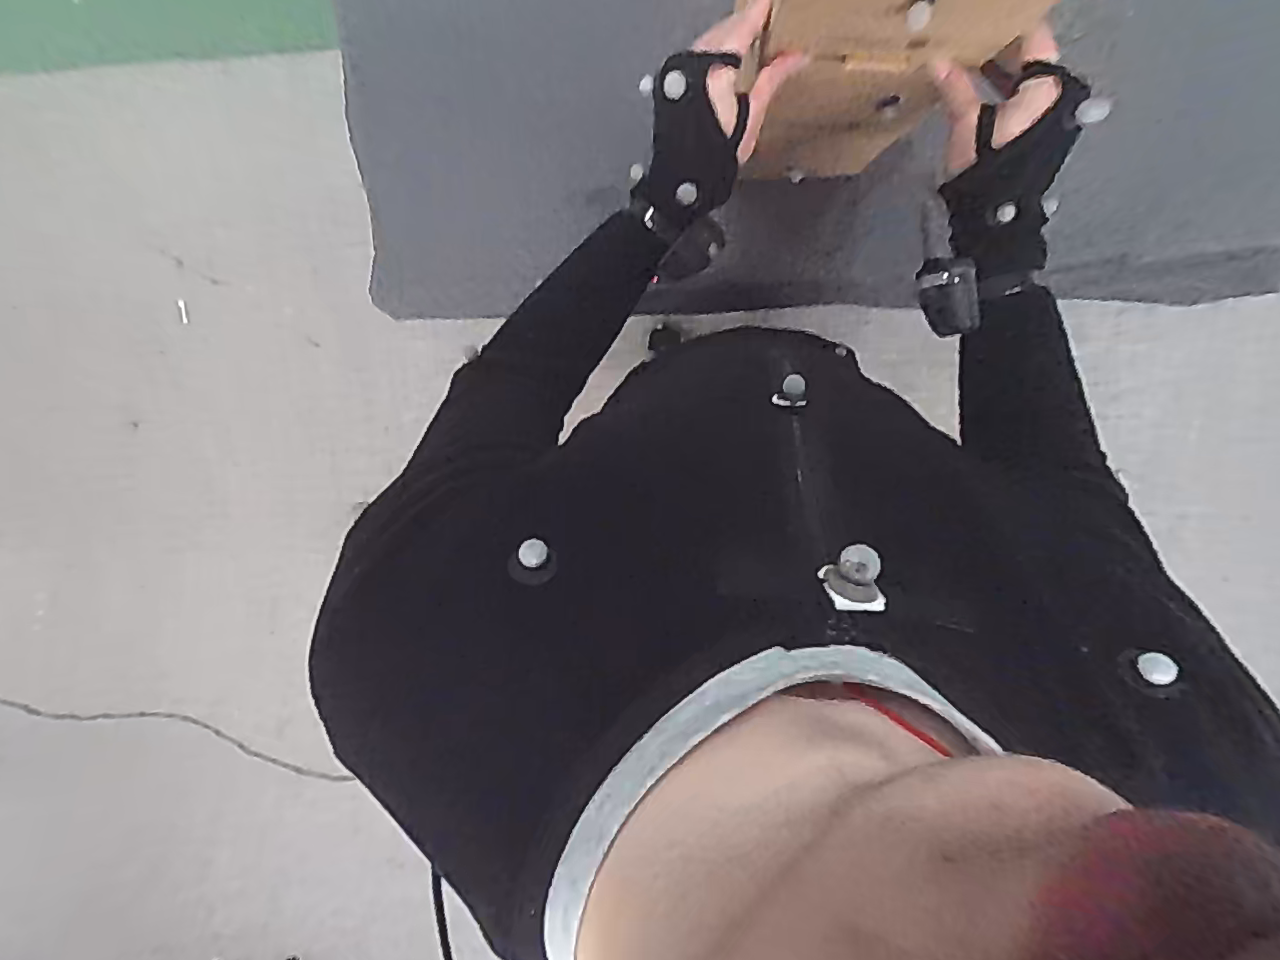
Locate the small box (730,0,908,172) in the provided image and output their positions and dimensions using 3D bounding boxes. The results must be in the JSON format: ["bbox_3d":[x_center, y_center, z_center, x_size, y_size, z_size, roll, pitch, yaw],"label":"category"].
[{"bbox_3d":[0.190,-0.464,0.600,0.168,0.176,0.179,0,107,5],"label":"small box"}]

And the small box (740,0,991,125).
[{"bbox_3d":[0.178,-0.417,0.446,0.168,0.176,0.179,3,105,2],"label":"small box"}]

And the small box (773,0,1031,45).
[{"bbox_3d":[0.170,-0.371,0.289,0.168,0.176,0.179,4,108,2],"label":"small box"}]
